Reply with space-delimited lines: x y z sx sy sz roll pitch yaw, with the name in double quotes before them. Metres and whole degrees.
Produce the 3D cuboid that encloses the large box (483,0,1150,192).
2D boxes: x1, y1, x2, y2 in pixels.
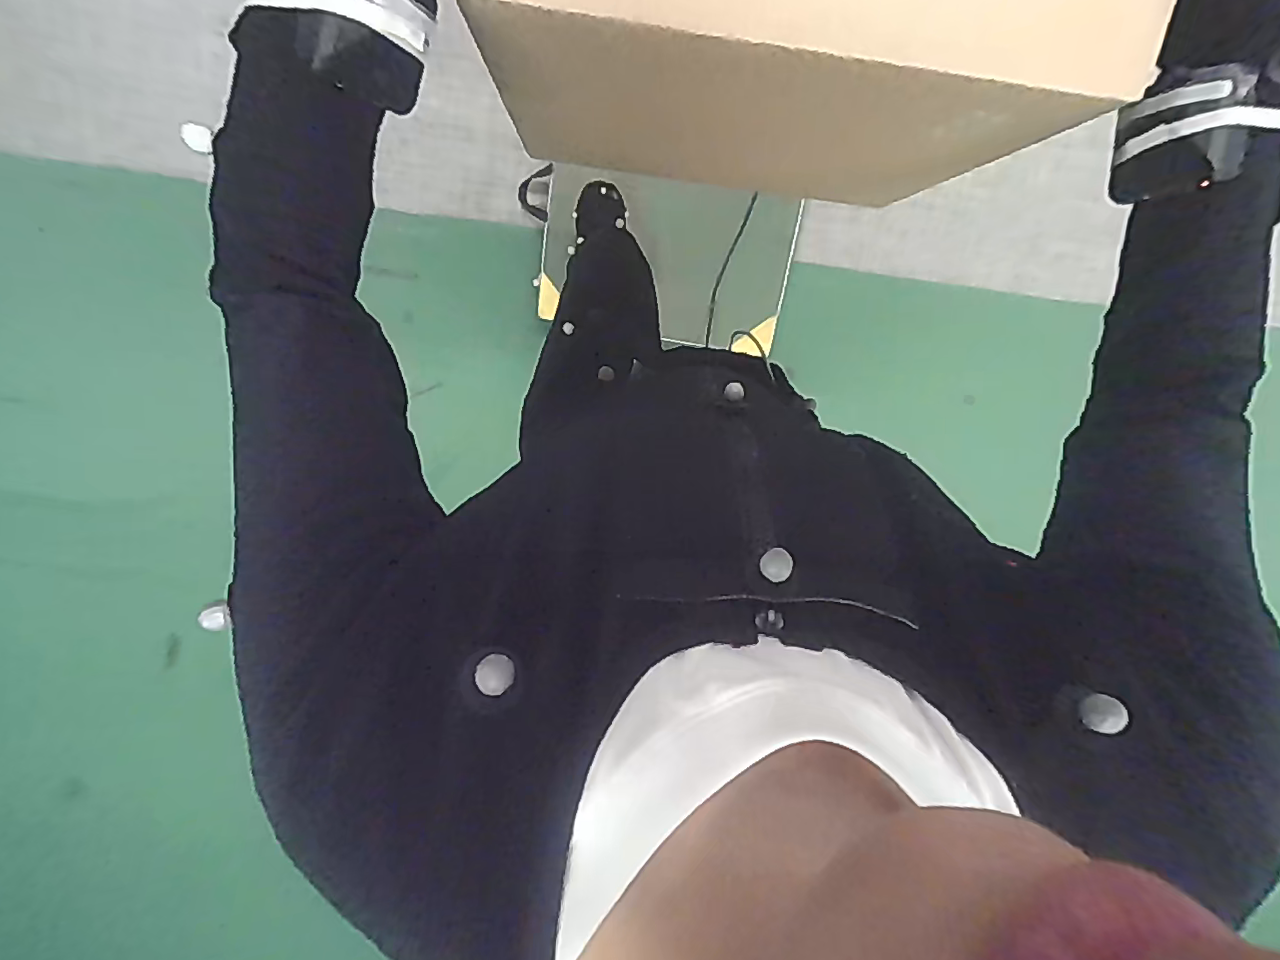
"large box" 0.103 -0.444 0.415 0.408 0.320 0.320 4 106 -6
